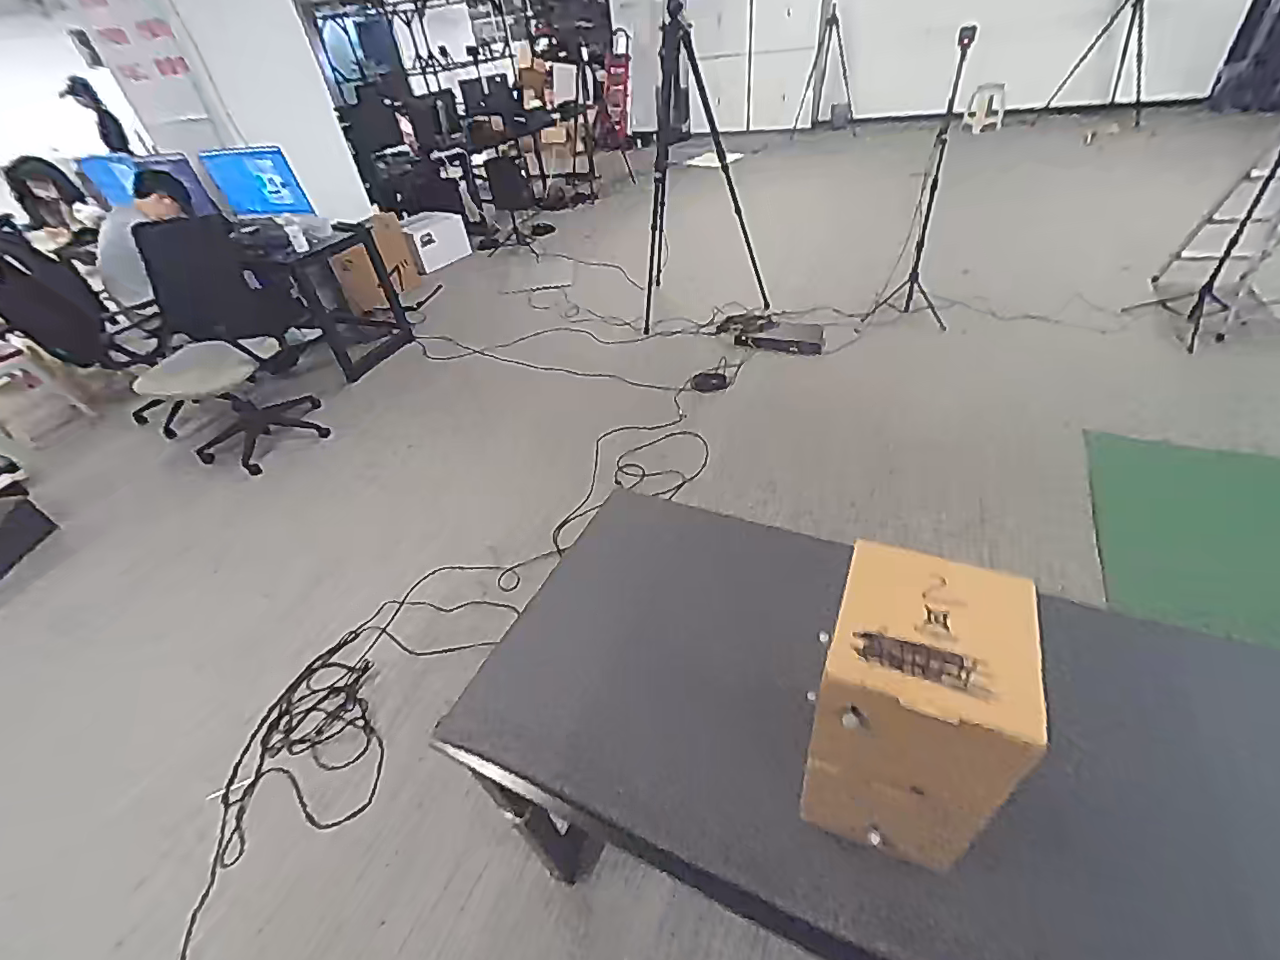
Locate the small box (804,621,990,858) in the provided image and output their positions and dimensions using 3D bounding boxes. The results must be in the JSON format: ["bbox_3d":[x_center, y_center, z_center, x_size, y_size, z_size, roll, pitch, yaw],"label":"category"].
[{"bbox_3d":[0.298,0.307,0.650,0.168,0.176,0.179,10,43,21],"label":"small box"}]
